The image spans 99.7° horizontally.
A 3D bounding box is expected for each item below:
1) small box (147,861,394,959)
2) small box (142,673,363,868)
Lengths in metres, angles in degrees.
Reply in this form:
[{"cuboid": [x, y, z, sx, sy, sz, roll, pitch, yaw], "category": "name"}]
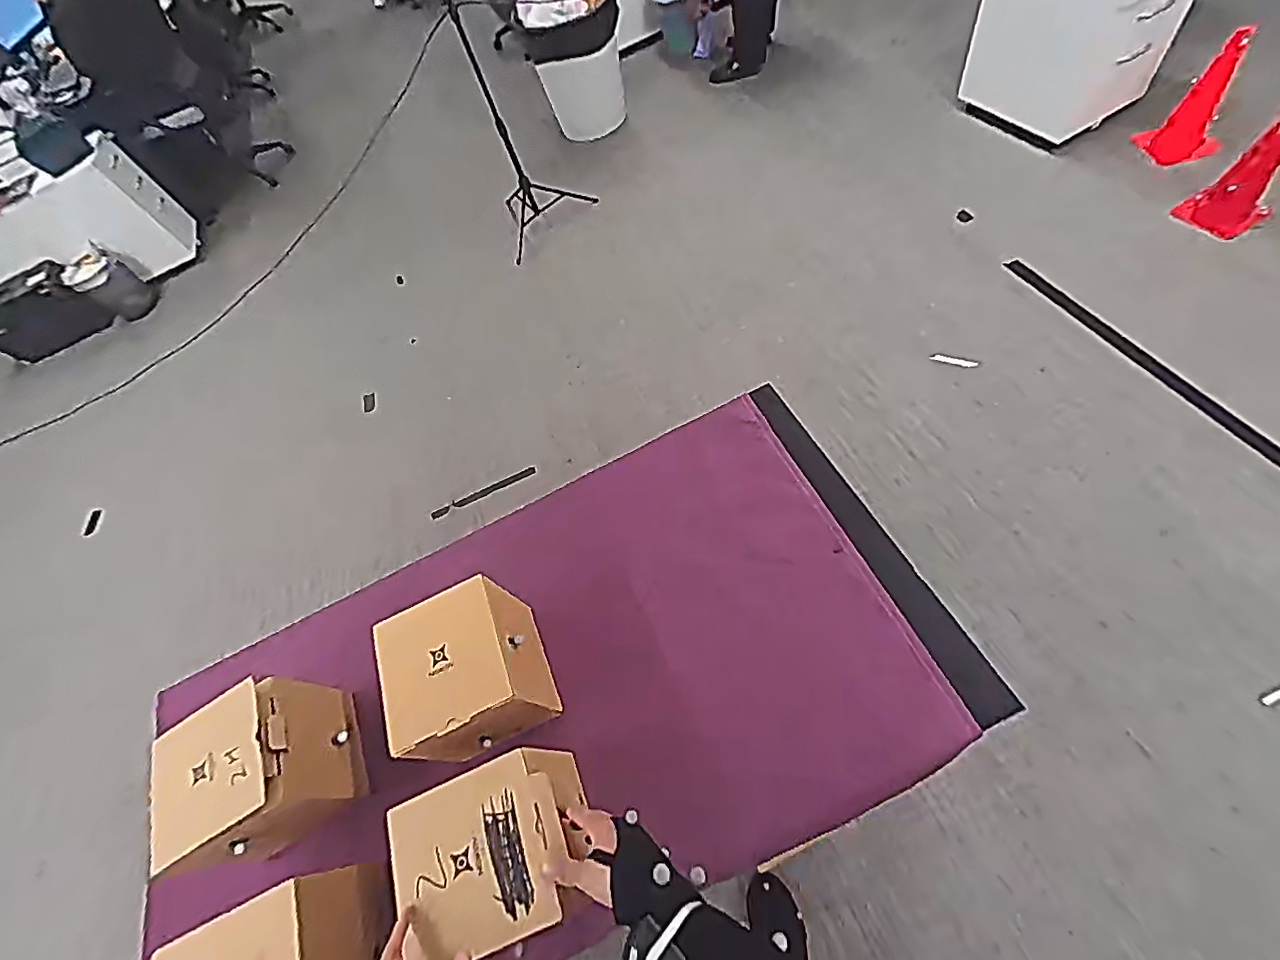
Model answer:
[{"cuboid": [-0.414, 0.573, 0.622, 0.179, 0.176, 0.168, -26, 59, -2], "category": "small box"}, {"cuboid": [-0.522, 0.395, 0.745, 0.179, 0.176, 0.168, -28, 60, -3], "category": "small box"}]
